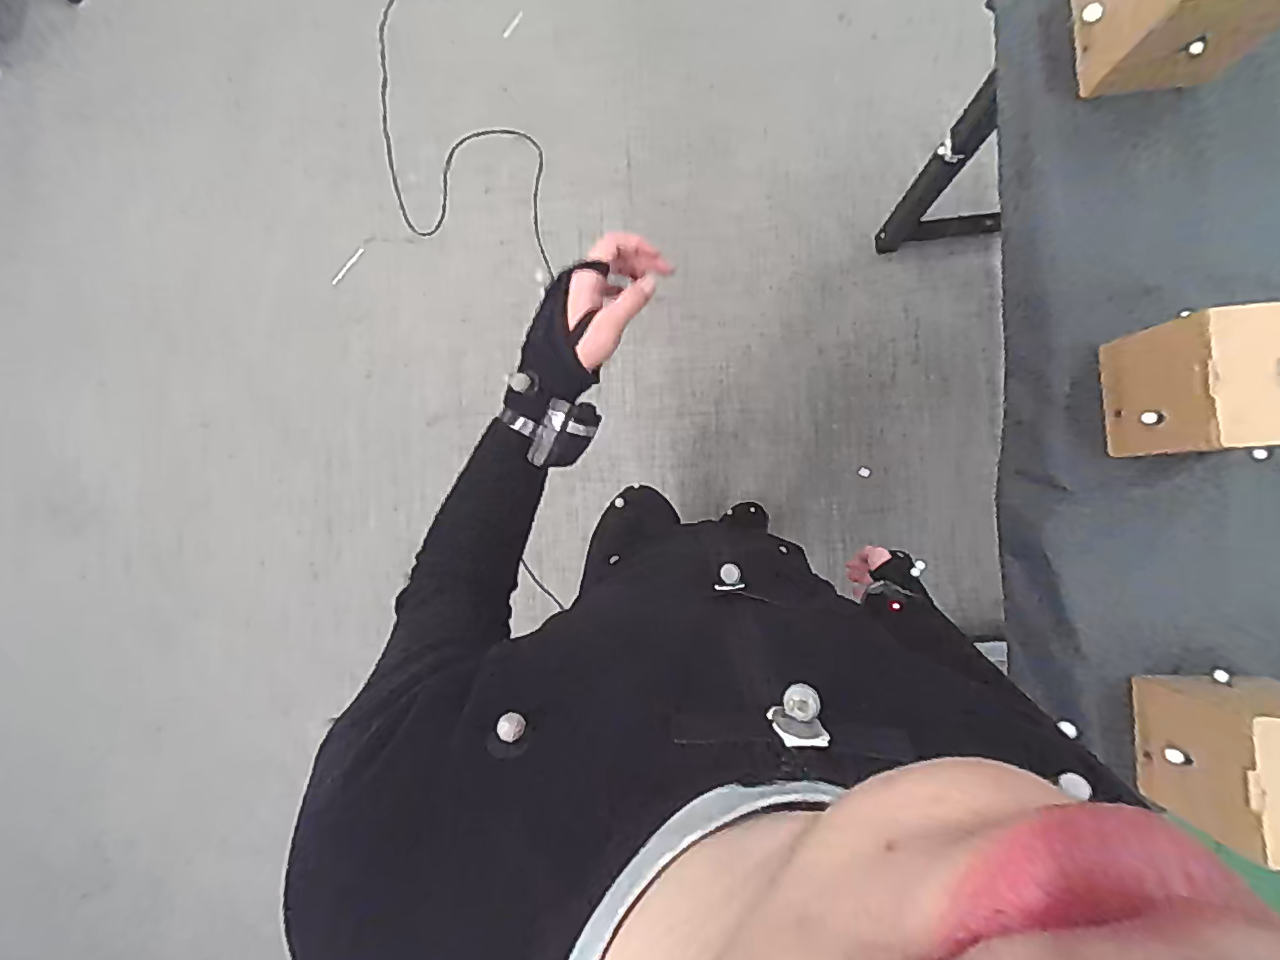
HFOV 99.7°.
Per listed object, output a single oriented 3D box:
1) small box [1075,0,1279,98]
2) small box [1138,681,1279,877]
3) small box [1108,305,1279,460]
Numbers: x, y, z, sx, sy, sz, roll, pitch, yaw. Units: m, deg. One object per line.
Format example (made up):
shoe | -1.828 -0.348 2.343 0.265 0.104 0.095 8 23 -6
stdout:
small box | 0.716 -0.637 0.699 0.179 0.176 0.168 -3 89 5
small box | 0.766 0.357 0.667 0.179 0.176 0.168 0 86 5
small box | 0.742 -0.115 0.687 0.179 0.176 0.168 -4 90 3
